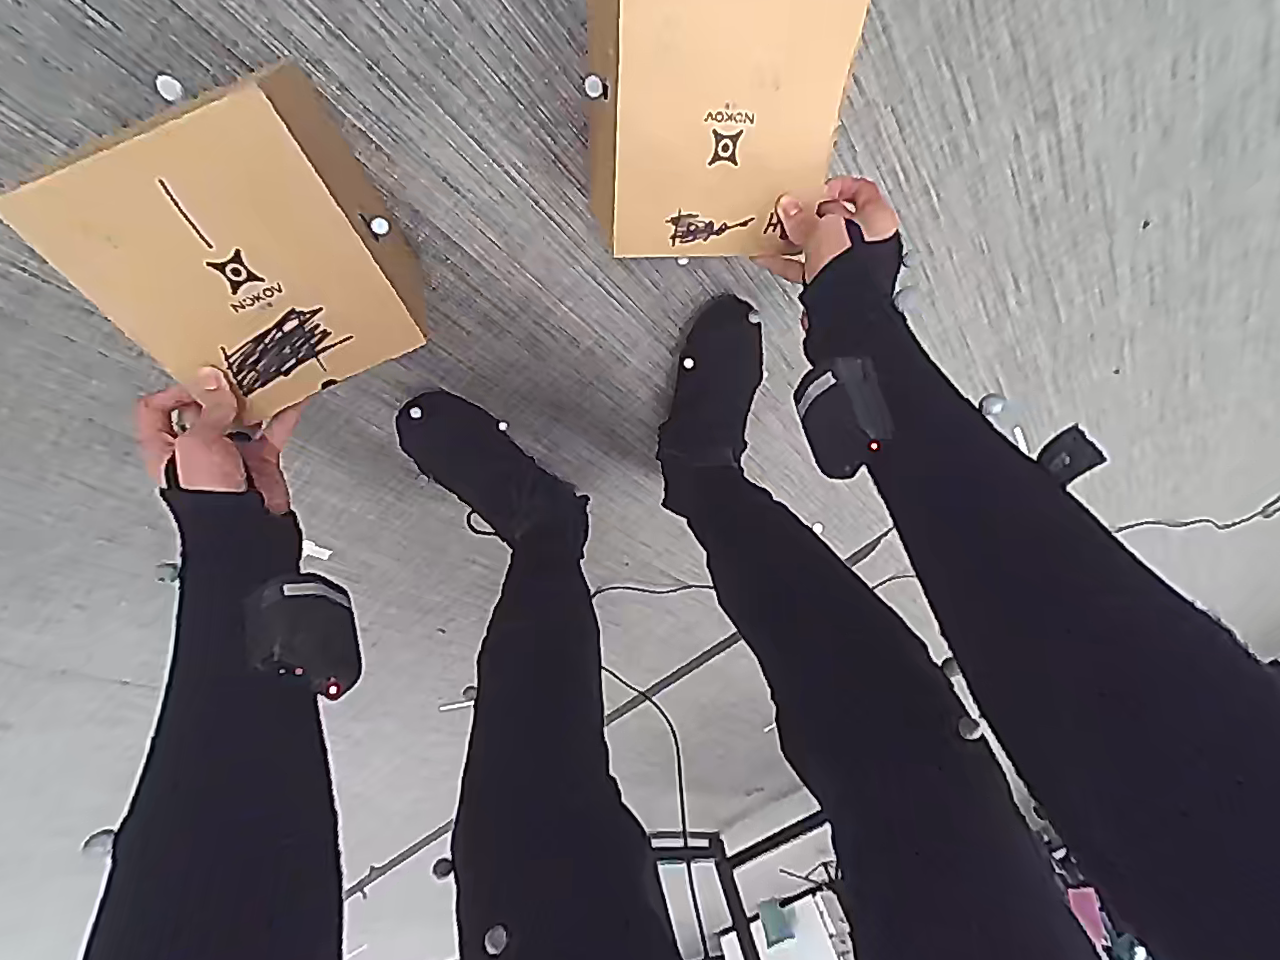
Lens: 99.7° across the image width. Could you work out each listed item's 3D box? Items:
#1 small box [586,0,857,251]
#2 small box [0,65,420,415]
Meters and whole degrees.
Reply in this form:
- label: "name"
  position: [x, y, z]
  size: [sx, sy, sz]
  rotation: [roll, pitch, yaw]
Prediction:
- label: "small box"
  position: [0.045, -0.307, 0.449]
  size: [0.168, 0.176, 0.179]
  rotation: [-4, 131, -10]
- label: "small box"
  position: [-0.294, -0.189, 0.423]
  size: [0.168, 0.176, 0.179]
  rotation: [-26, 134, -2]
